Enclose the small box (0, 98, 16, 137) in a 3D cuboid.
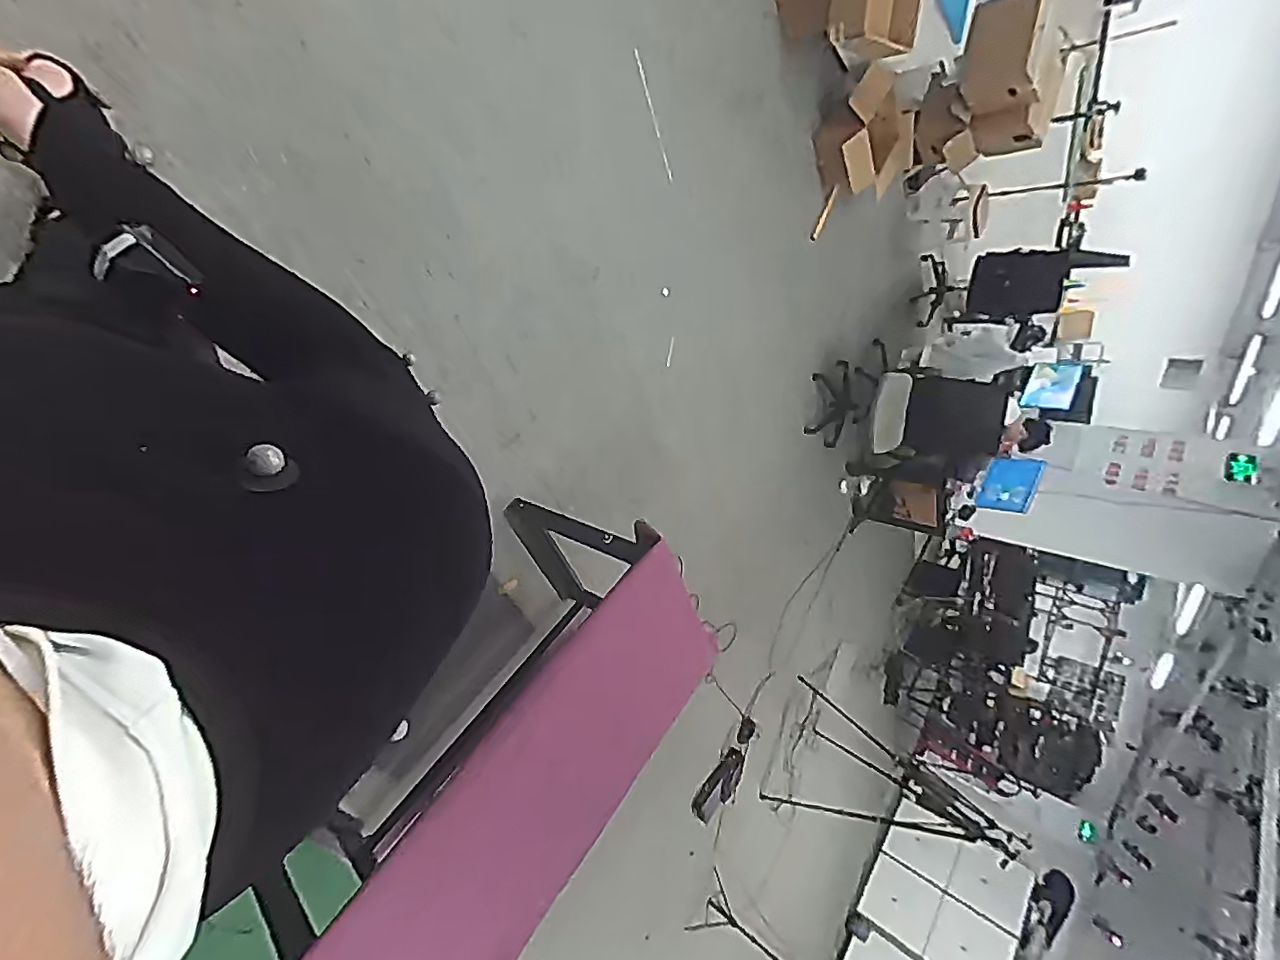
[{"bbox_3d":[-0.618,-0.361,0.393,0.168,0.176,0.179,-24,132,-38],"label":"small box"}]
